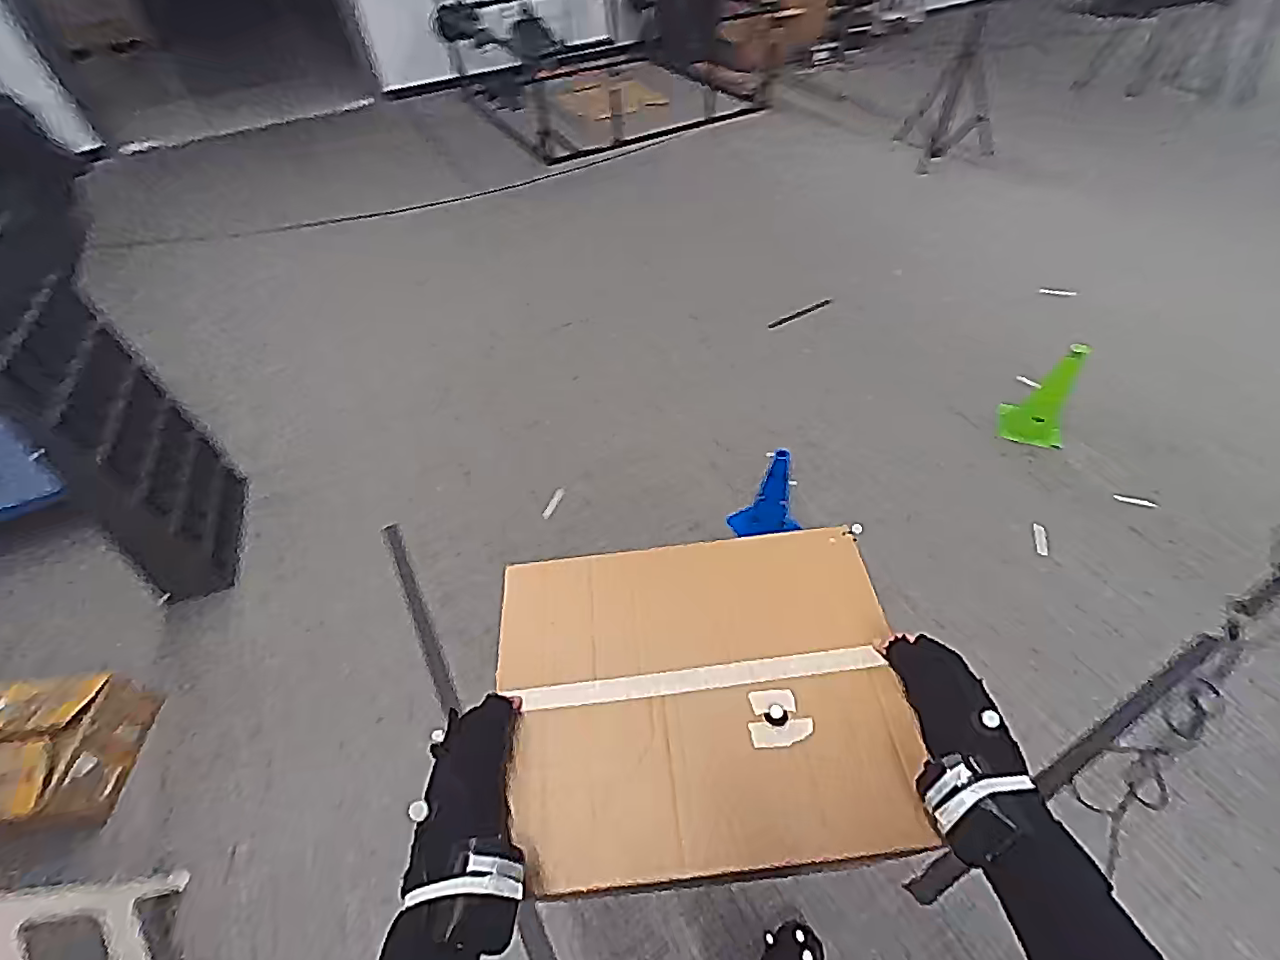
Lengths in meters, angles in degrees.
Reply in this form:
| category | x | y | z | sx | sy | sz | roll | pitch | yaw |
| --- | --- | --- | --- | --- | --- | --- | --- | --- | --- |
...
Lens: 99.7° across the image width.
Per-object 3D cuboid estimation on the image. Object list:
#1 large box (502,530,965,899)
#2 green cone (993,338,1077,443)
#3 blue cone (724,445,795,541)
| category | x | y | z | sx | sy | sz | roll | pitch | yaw |
| --- | --- | --- | --- | --- | --- | --- | --- | --- | --- |
| large box | 0.075 | 0.293 | 0.660 | 0.408 | 0.320 | 0.320 | -6 | 52 | 0 |
| green cone | 1.429 | -0.335 | 1.903 | 0.202 | 0.368 | 0.200 | 14 | 51 | 17 |
| blue cone | 0.389 | 0.044 | 1.669 | 0.193 | 0.380 | 0.192 | -23 | 51 | -16 |
